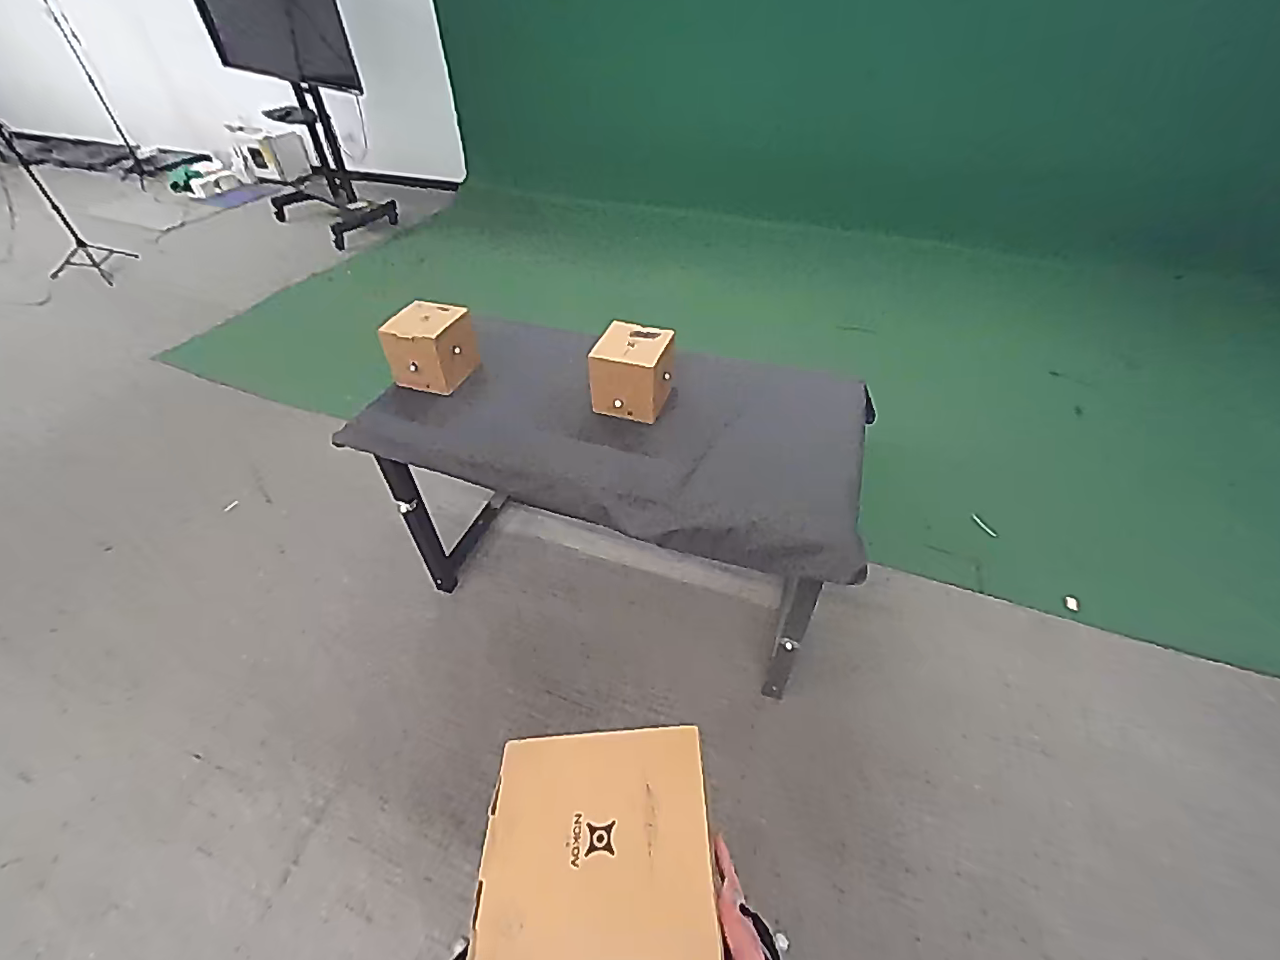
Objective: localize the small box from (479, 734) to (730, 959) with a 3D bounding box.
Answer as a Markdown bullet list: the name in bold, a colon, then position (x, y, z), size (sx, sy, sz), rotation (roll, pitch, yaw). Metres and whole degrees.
- **small box**: position (-0.018, 0.348, 0.472), size (0.179, 0.176, 0.168), rotation (-6, 40, 3)

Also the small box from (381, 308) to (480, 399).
- **small box**: position (-0.554, -0.340, 1.461), size (0.168, 0.176, 0.179), rotation (13, 46, 12)

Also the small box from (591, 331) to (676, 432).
- **small box**: position (-0.016, -0.251, 1.373), size (0.168, 0.176, 0.179), rotation (14, 47, 14)
